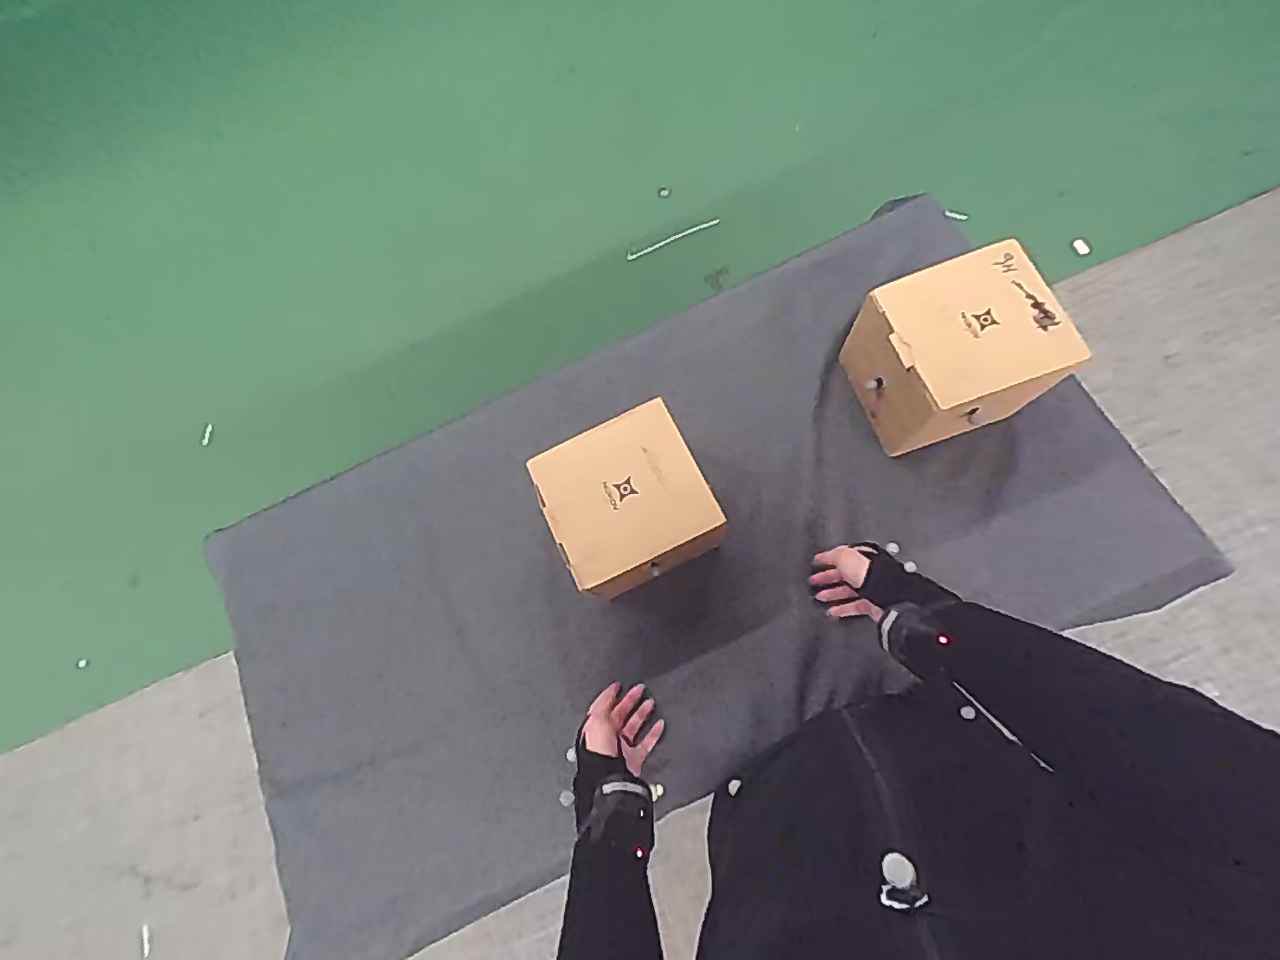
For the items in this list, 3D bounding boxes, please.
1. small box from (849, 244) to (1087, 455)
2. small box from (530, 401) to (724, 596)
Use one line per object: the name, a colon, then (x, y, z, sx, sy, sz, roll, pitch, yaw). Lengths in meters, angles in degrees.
small box: (0.381, -0.149, 0.675, 0.179, 0.176, 0.168, -19, 74, 2)
small box: (-0.009, 0.036, 0.676, 0.179, 0.176, 0.168, -26, 74, -2)
